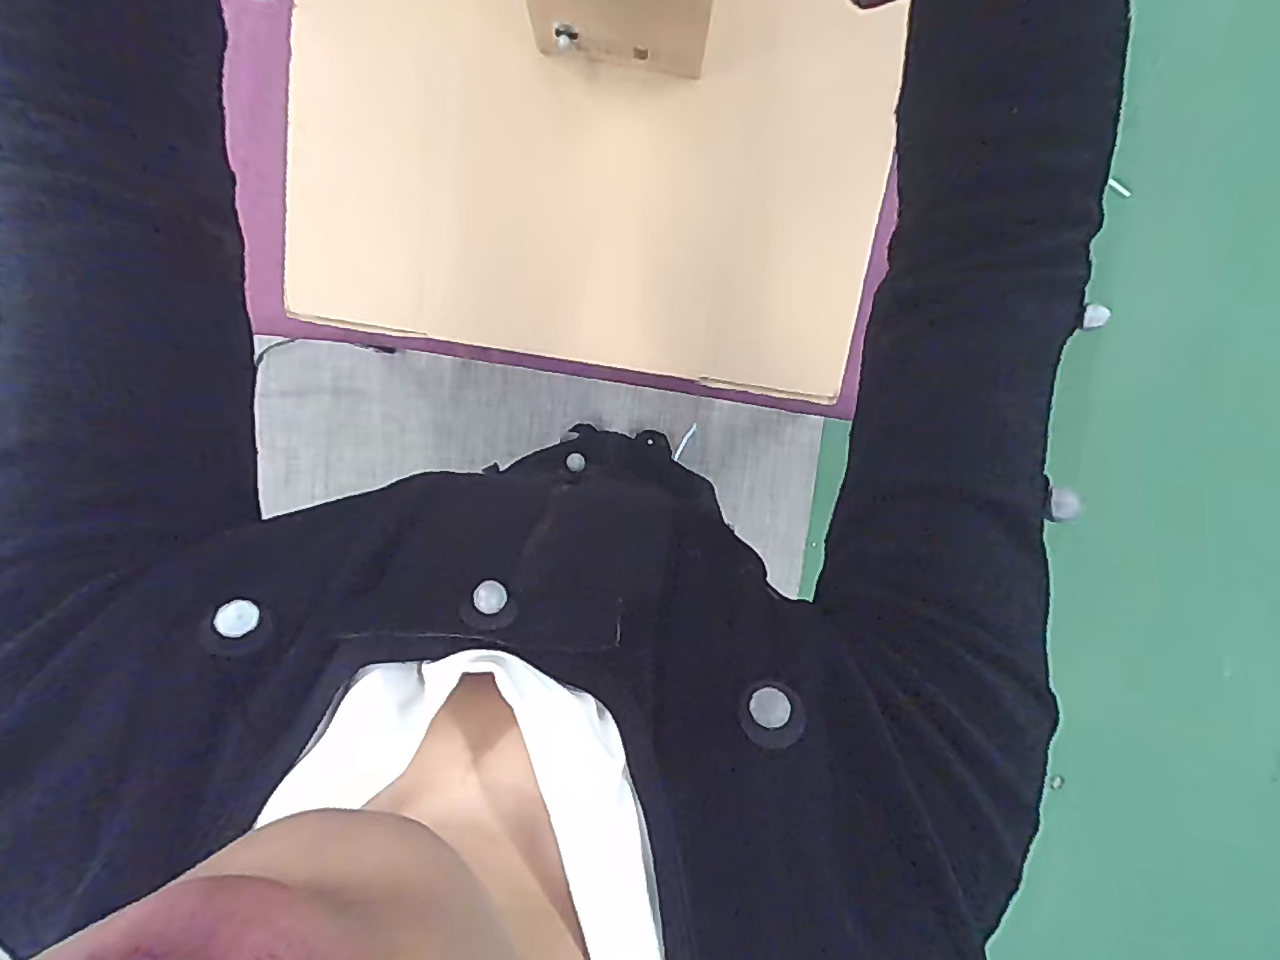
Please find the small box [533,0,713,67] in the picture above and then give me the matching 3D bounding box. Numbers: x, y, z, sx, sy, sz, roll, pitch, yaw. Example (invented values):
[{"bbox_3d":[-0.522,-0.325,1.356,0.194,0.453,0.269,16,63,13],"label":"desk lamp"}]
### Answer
[{"bbox_3d":[-0.006,-0.495,0.450,0.168,0.176,0.179,9,92,-2],"label":"small box"}]
